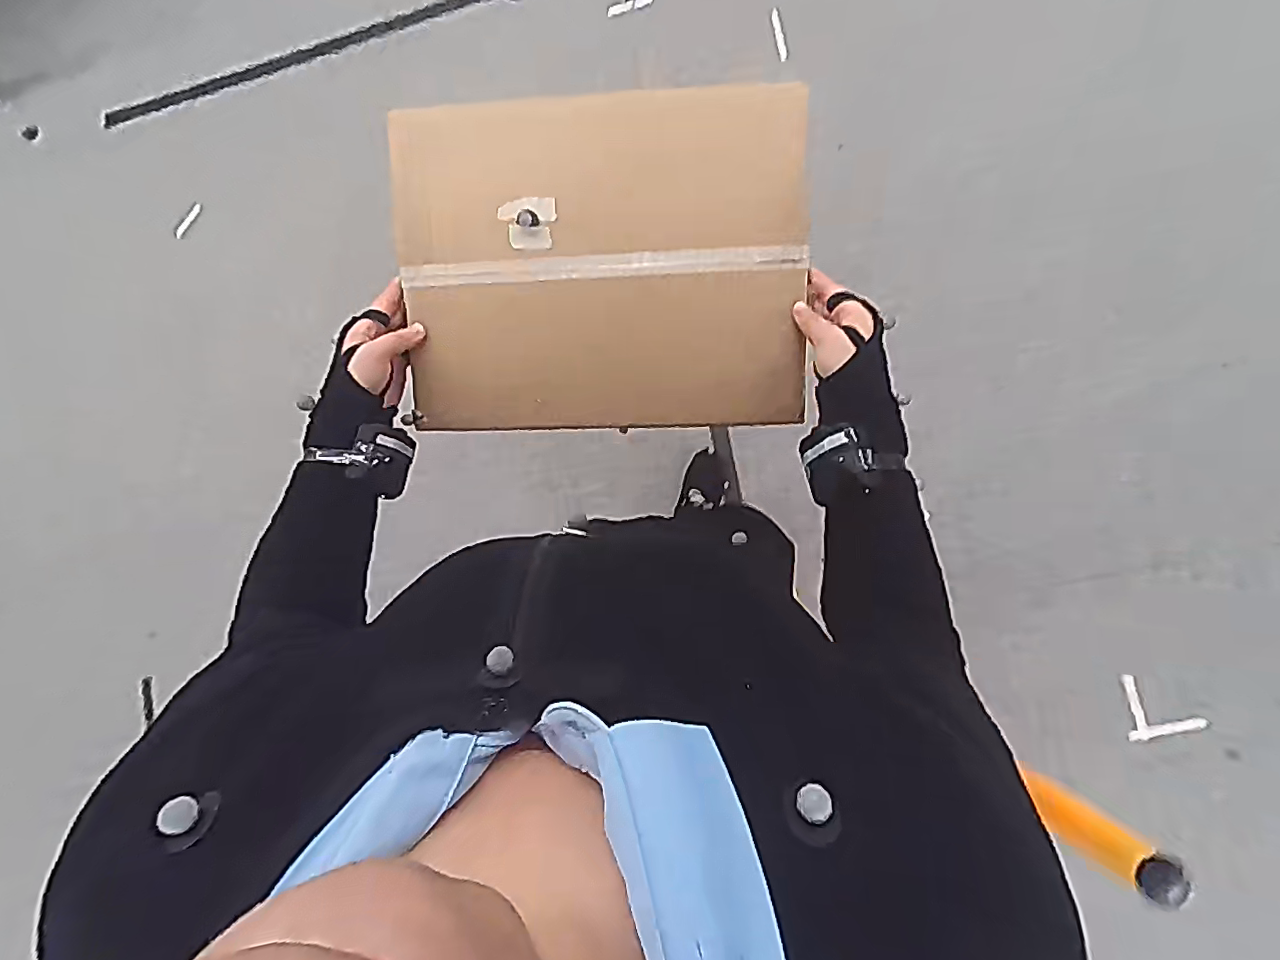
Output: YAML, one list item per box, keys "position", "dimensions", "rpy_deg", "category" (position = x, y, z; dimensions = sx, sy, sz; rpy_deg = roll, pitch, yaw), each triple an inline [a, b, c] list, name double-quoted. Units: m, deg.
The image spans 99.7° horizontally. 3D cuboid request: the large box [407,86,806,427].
- position: [-0.019, -0.237, 0.696]
  dimensions: [0.408, 0.320, 0.320]
  rpy_deg: [-1, 97, 6]
  category: "large box"
